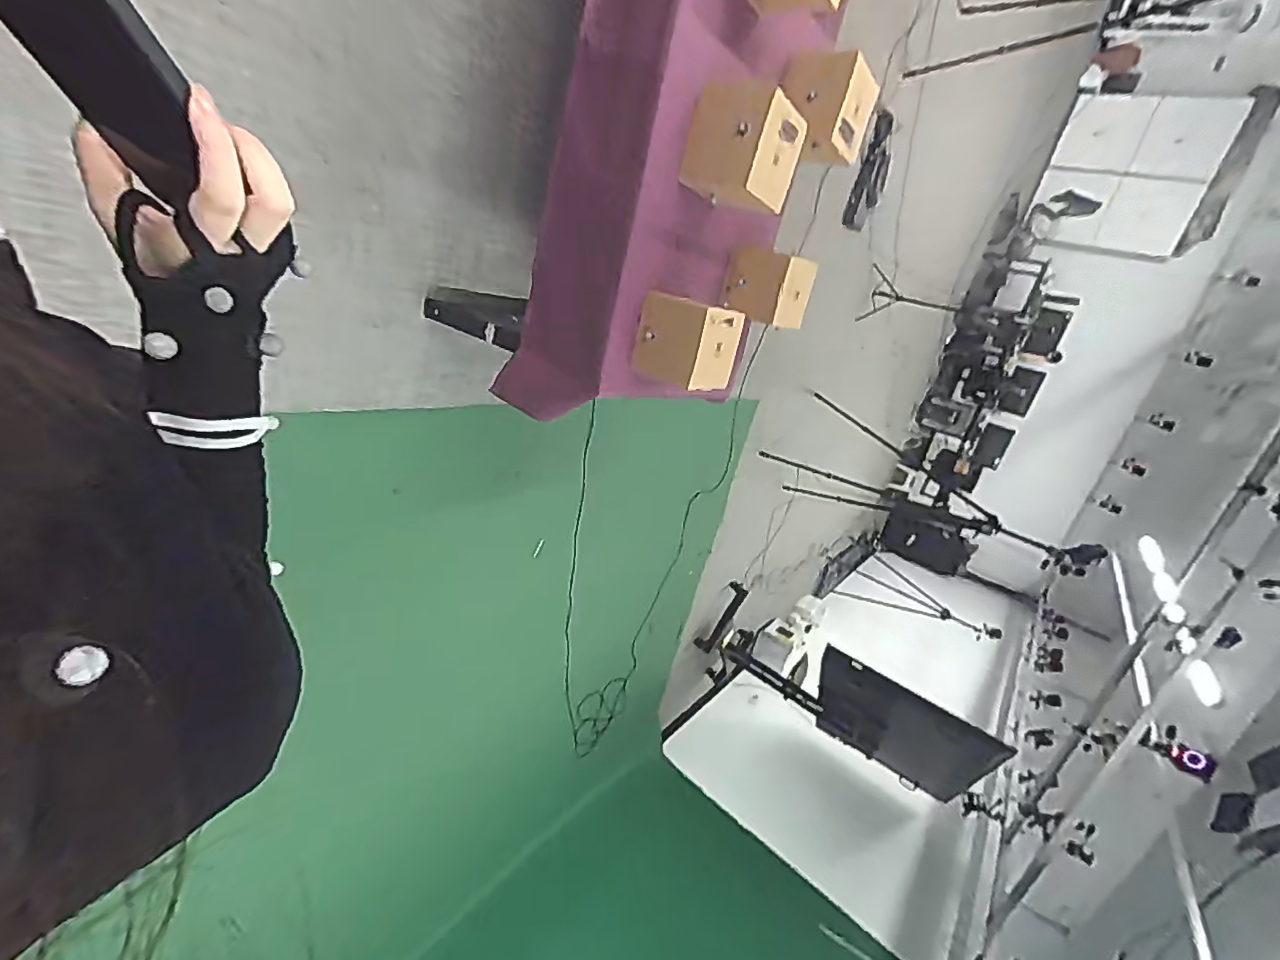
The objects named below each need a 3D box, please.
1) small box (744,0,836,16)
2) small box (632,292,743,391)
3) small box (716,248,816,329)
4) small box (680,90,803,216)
[{"bbox_3d":[0.277,-0.991,0.983,0.168,0.176,0.179,-11,123,-52],"label":"small box"},{"bbox_3d":[0.103,-0.312,1.228,0.168,0.176,0.179,-14,124,-51],"label":"small box"},{"bbox_3d":[0.327,-0.500,1.412,0.179,0.176,0.168,-15,124,-50],"label":"small box"},{"bbox_3d":[0.205,-0.671,1.113,0.168,0.176,0.179,-8,120,-53],"label":"small box"}]
